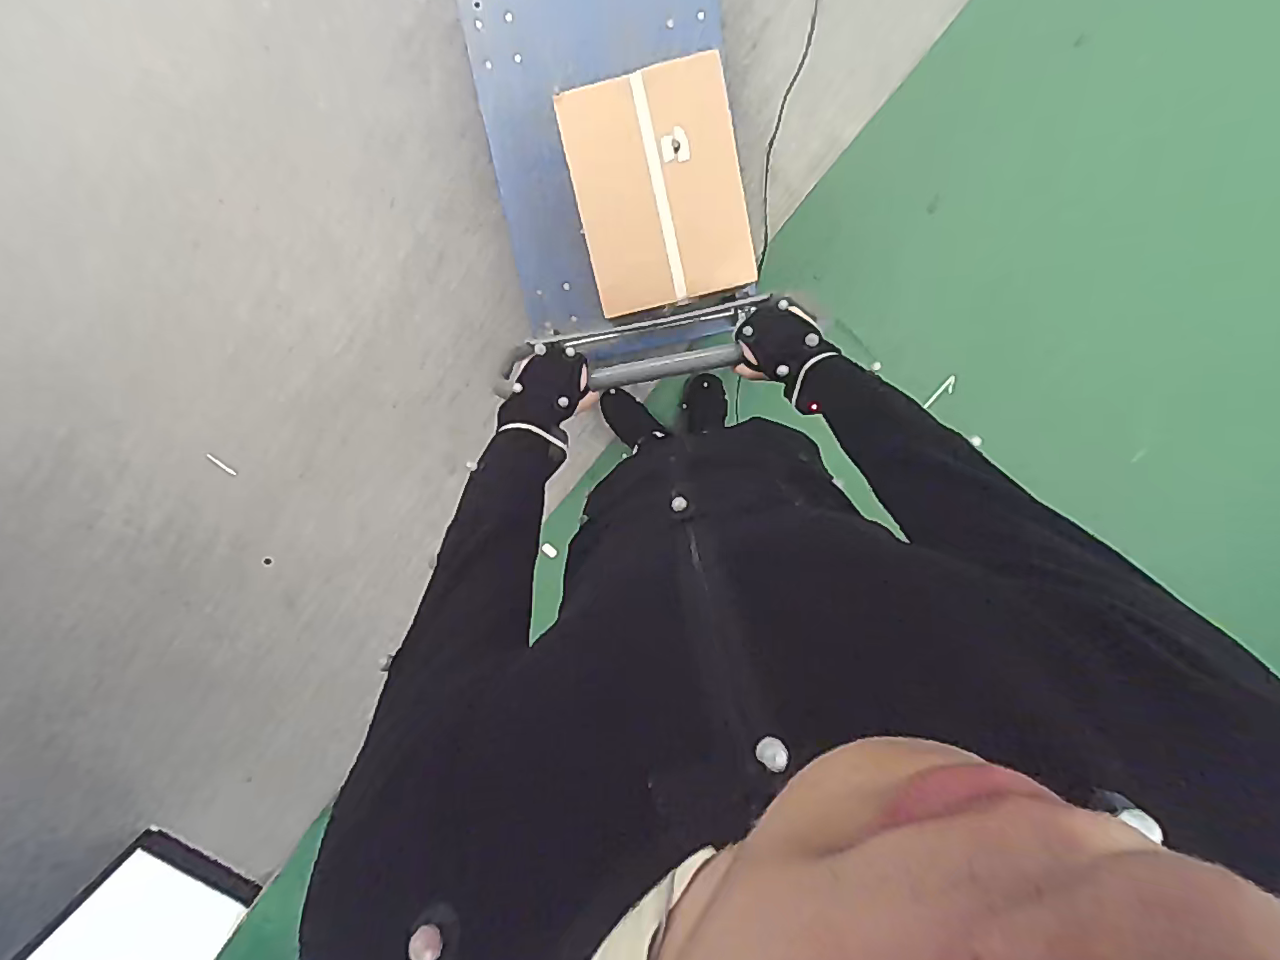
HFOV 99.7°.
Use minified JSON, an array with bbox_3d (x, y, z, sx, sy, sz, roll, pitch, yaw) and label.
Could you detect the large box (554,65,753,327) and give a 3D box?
[{"bbox_3d":[0.036,-0.578,1.191,0.320,0.320,0.408,-13,103,3],"label":"large box"}]
